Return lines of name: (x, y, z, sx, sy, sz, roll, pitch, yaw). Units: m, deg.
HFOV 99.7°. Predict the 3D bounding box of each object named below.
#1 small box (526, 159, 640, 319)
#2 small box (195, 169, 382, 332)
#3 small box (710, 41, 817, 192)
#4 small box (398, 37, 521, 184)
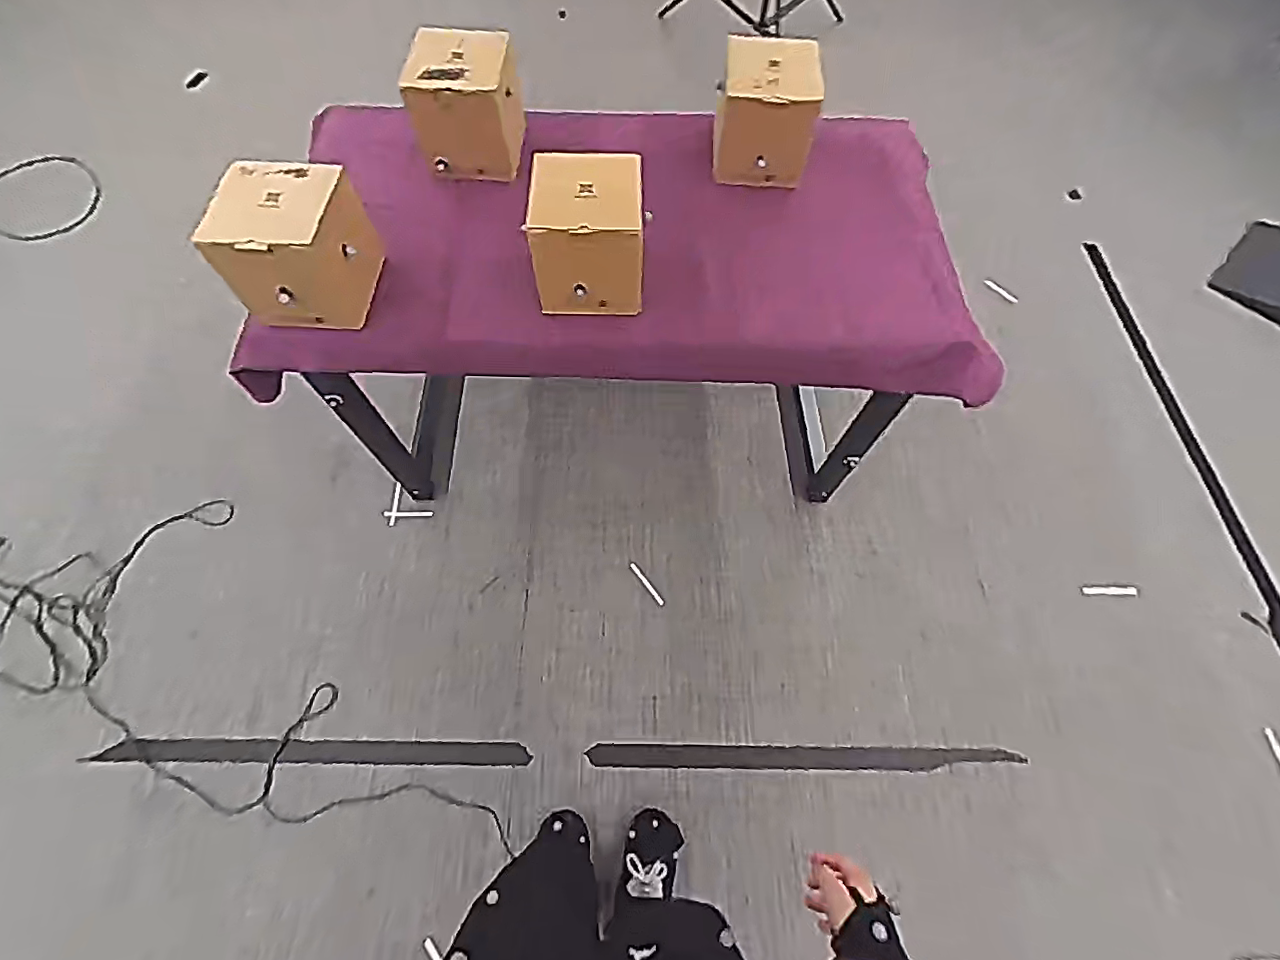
small box: (-0.087, -0.389, 0.883, 0.168, 0.176, 0.179, -1, 64, -2)
small box: (-0.533, -0.353, 0.851, 0.168, 0.176, 0.179, 2, 65, -1)
small box: (0.225, -0.685, 1.026, 0.168, 0.176, 0.179, 3, 67, 1)
small box: (-0.326, -0.686, 1.015, 0.168, 0.176, 0.179, 2, 65, -1)
